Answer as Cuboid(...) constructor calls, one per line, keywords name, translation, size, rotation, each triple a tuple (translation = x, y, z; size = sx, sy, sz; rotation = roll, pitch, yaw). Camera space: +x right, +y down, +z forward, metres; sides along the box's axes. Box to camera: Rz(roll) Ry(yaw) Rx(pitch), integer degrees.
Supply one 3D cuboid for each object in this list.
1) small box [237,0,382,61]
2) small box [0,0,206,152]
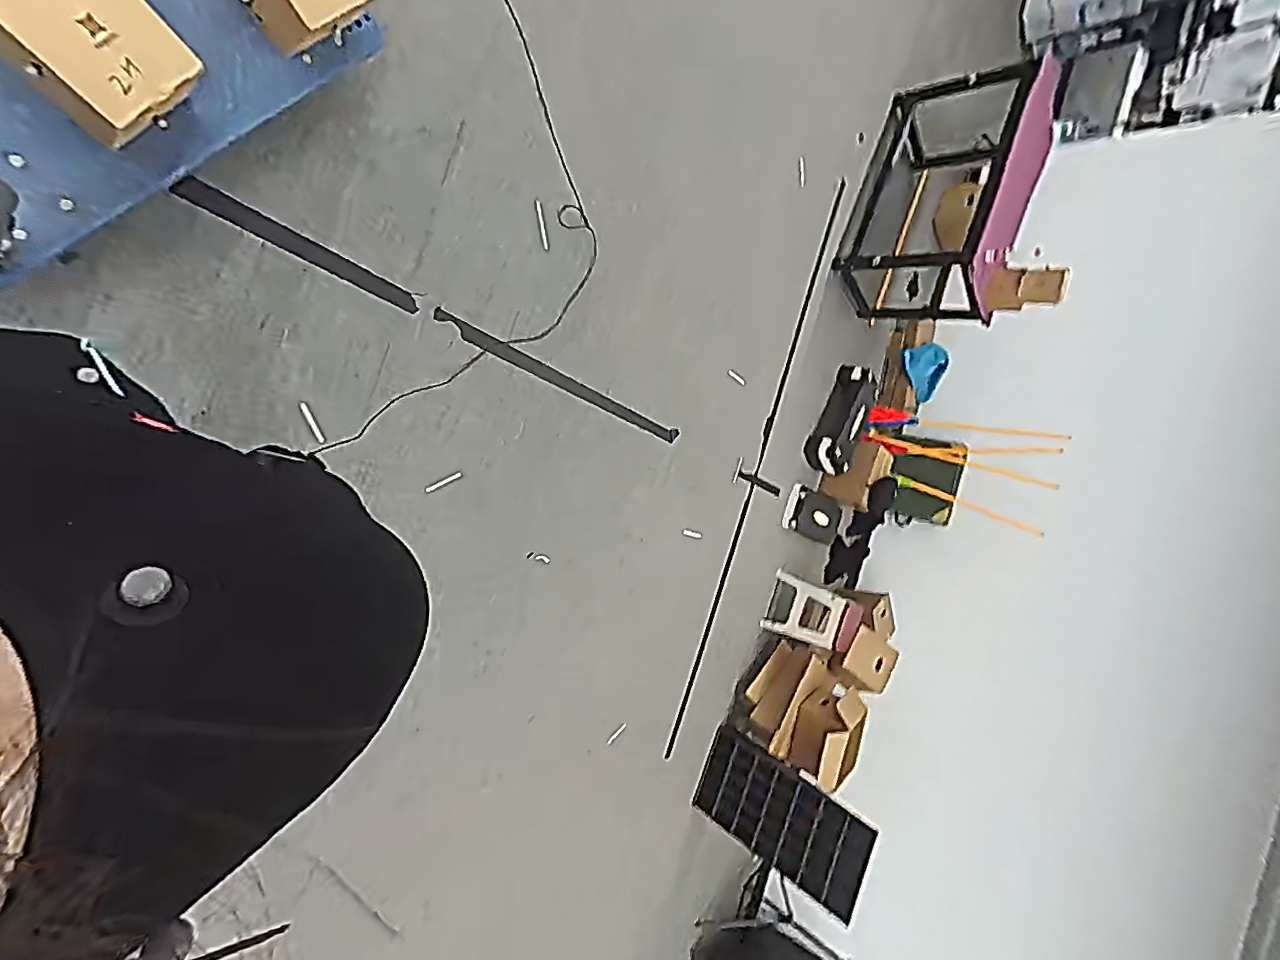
Cuboid(name="small box", translation=(-0.599, -0.883, 0.947), size=(0.179, 0.176, 0.168), rotation=(-52, 134, -21))
Cuboid(name="small box", translation=(-0.806, -0.627, 0.800), size=(0.168, 0.176, 0.179), rotation=(-57, 136, -18))
